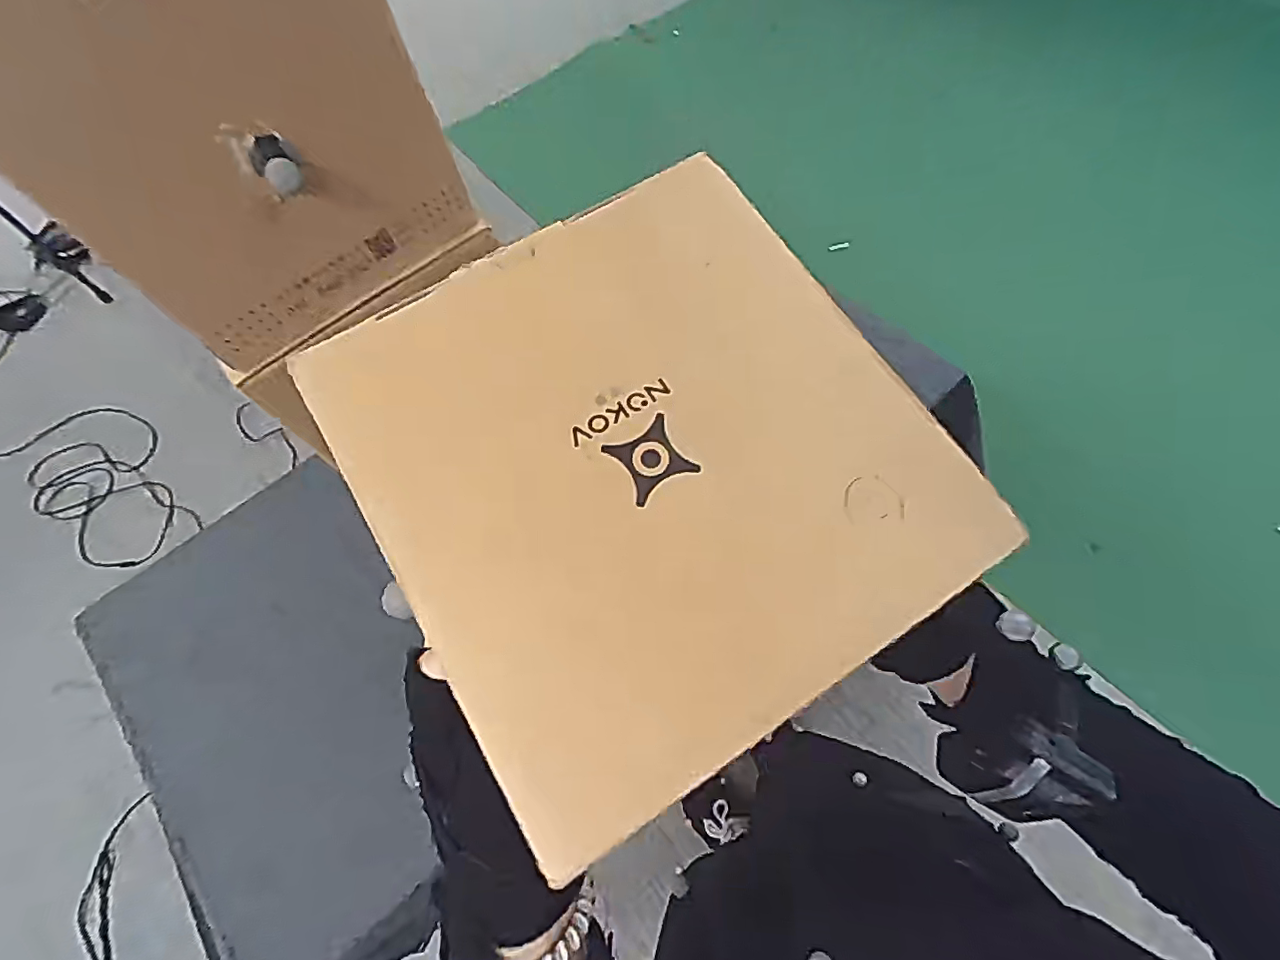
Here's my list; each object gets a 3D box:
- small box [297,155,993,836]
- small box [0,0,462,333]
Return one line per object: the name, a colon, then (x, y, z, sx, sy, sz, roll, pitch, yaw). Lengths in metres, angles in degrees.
small box: (-0.003, 0.008, 0.250, 0.168, 0.176, 0.179, -31, 75, -10)
small box: (-0.226, -0.206, 0.284, 0.168, 0.176, 0.179, -40, 66, -14)
